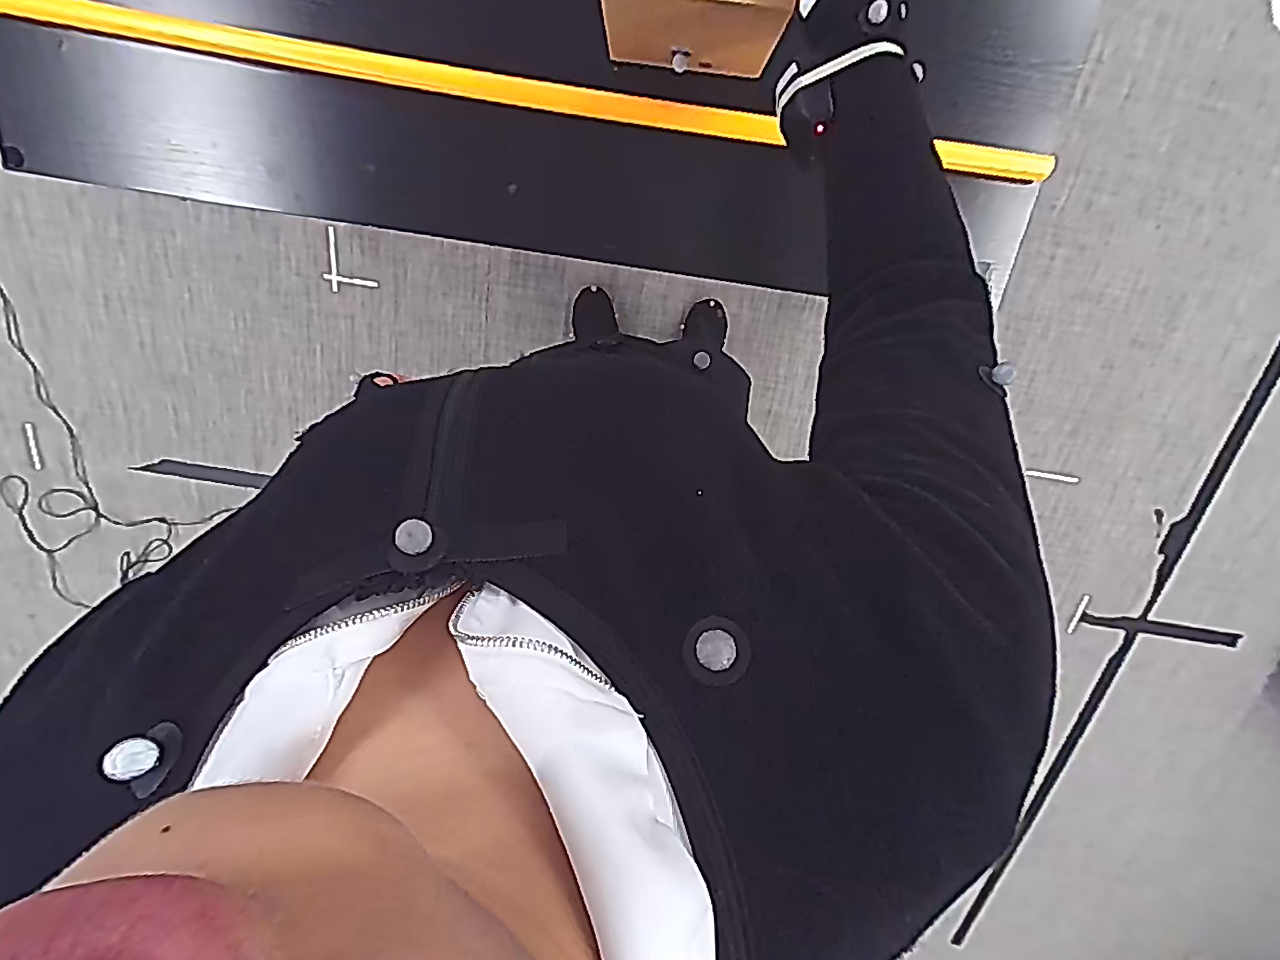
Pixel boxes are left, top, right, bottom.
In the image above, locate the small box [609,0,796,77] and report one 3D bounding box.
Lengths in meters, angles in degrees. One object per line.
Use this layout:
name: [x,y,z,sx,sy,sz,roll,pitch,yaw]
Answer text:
small box: [0.060,-0.509,0.493,0.168,0.176,0.179,7,111,-1]
